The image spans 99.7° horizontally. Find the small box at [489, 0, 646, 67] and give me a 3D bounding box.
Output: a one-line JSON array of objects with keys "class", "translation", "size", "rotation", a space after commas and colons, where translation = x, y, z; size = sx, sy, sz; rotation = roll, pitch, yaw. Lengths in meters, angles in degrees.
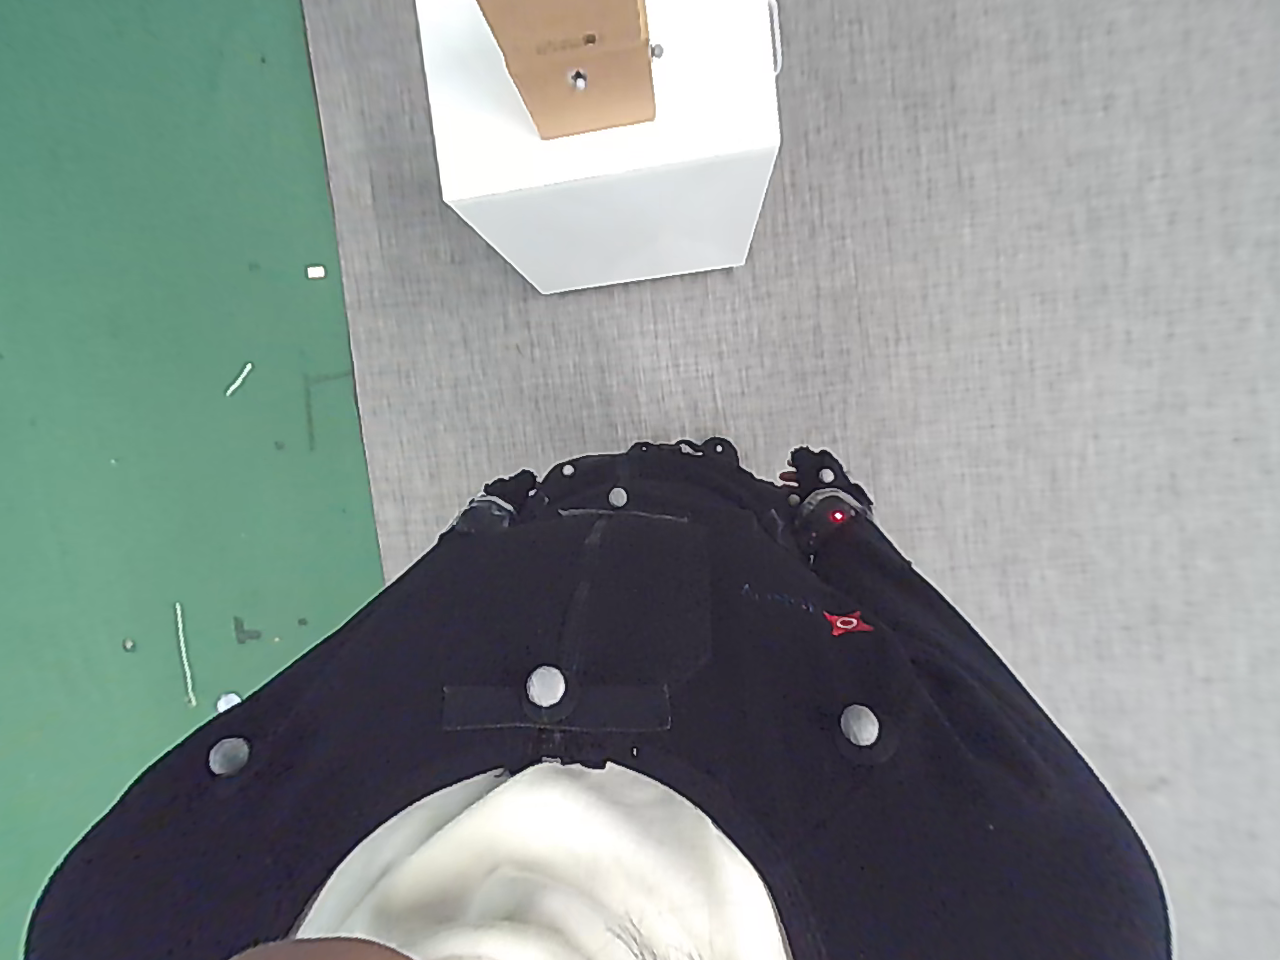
[{"class": "small box", "translation": [-0.088, -0.581, 0.555], "size": [0.168, 0.176, 0.179], "rotation": [-8, 95, 5]}]

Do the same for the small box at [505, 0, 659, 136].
[{"class": "small box", "translation": [-0.074, -0.590, 0.715], "size": [0.179, 0.176, 0.168], "rotation": [-7, 94, 5]}]
